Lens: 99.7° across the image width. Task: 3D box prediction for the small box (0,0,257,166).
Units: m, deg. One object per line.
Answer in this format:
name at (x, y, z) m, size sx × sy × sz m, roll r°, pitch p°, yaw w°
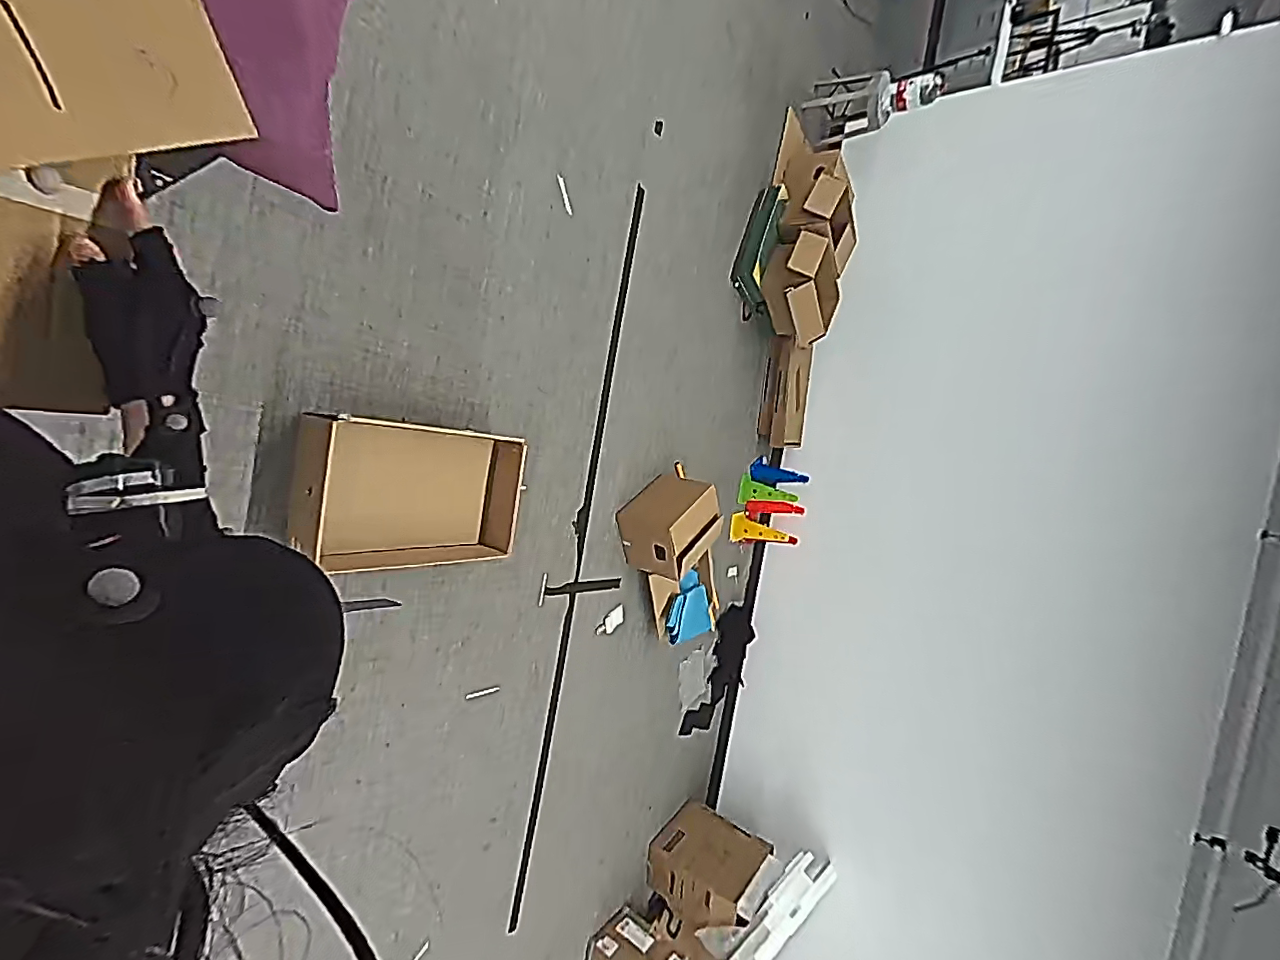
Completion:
small box at (-0.344, -0.256, 0.260) m, size 0.168 × 0.176 × 0.179 m, roll -41°, pitch 139°, yaw -38°
